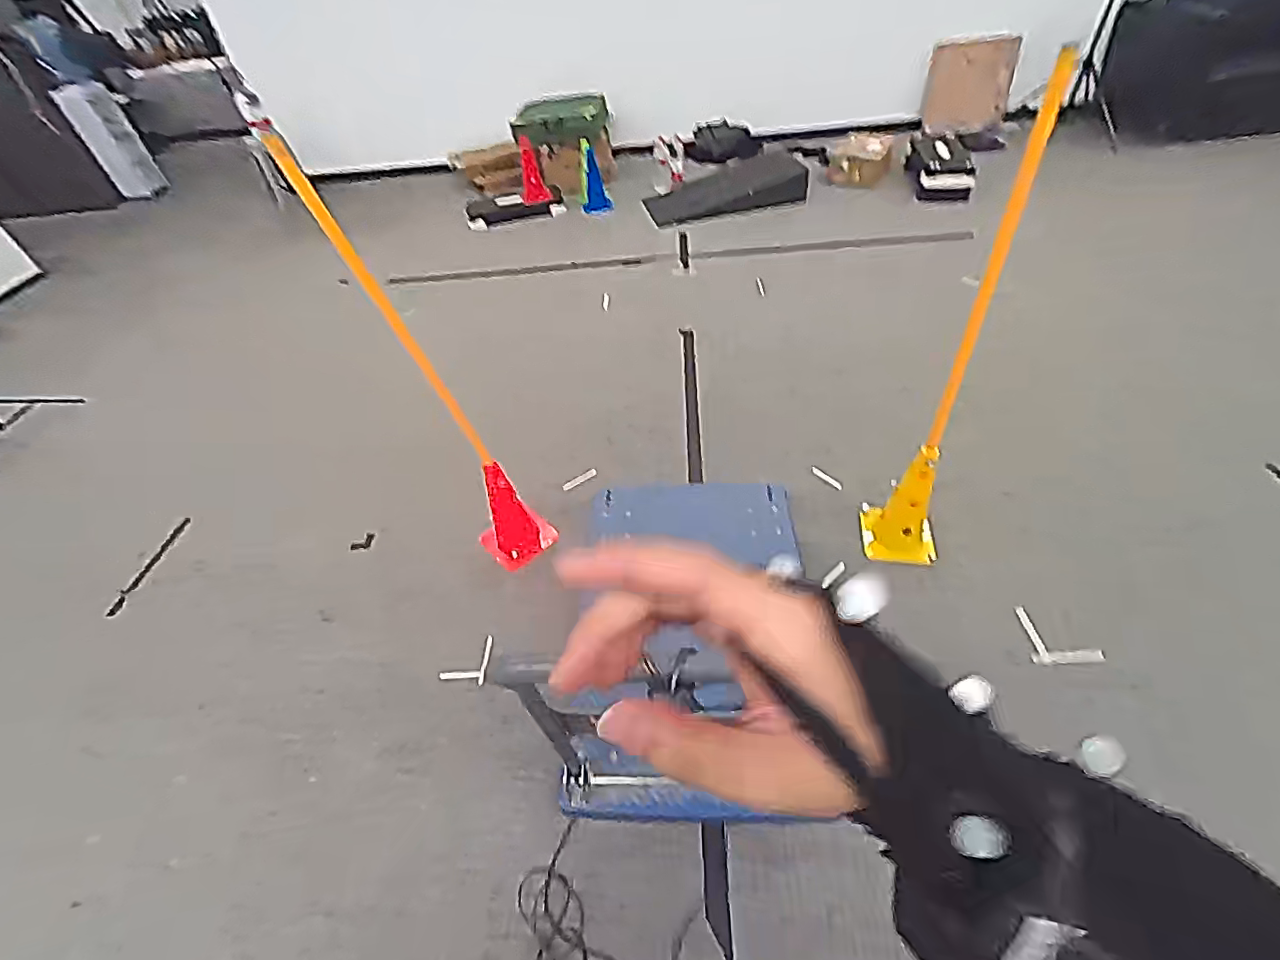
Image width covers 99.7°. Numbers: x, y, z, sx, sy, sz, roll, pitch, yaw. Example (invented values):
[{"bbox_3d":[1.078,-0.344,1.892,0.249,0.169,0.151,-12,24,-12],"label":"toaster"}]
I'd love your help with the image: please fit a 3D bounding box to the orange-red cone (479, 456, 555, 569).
[{"bbox_3d":[-0.413,0.066,1.641,0.199,0.360,0.198,-36,54,-27],"label":"orange-red cone"}]
